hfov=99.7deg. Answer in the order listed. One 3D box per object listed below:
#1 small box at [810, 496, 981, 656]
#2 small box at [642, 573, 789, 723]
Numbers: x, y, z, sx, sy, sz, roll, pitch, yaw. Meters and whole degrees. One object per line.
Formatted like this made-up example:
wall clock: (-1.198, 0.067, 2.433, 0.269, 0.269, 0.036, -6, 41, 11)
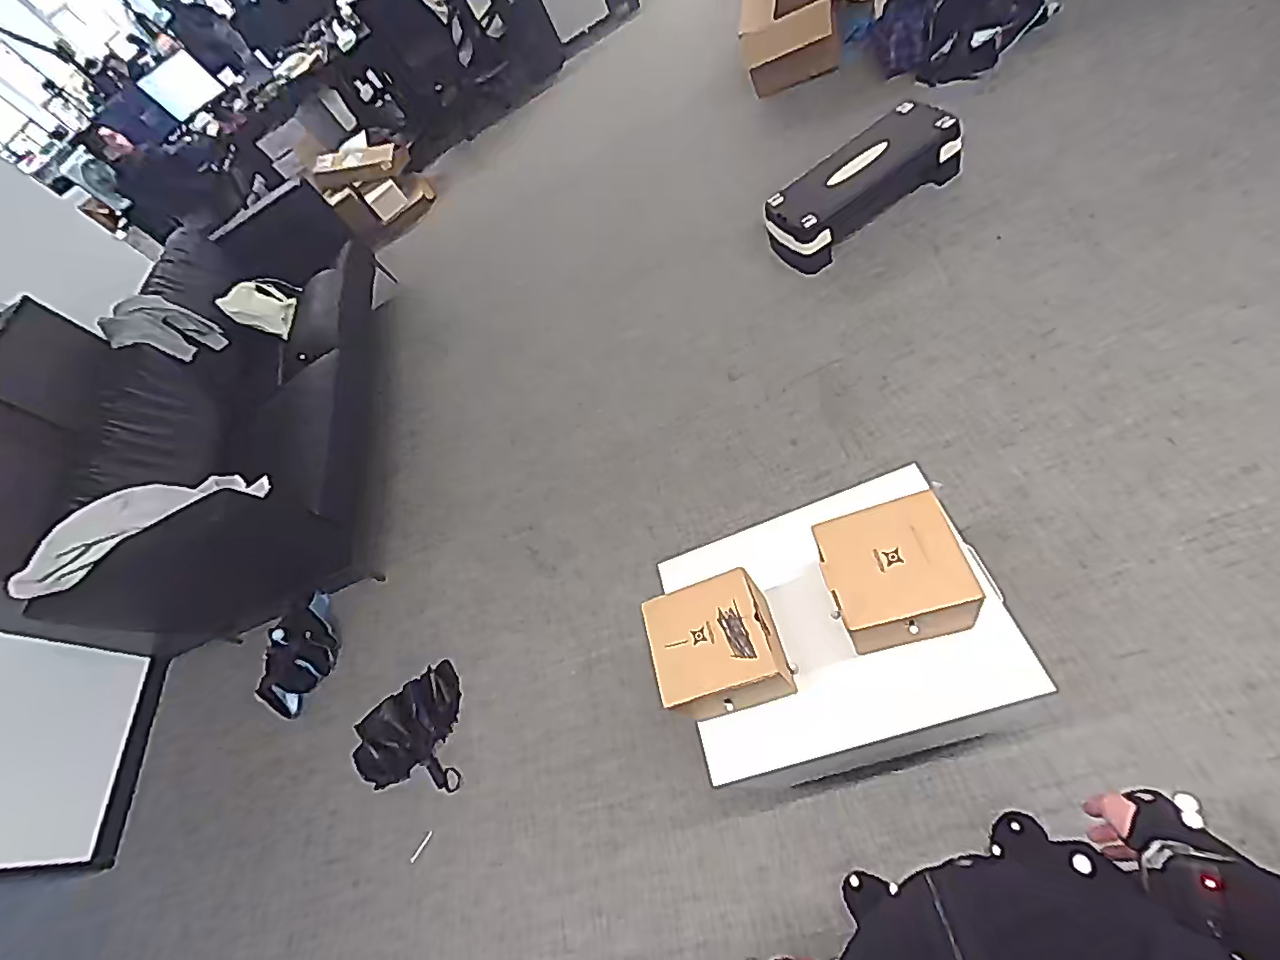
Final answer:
small box: (0.376, 0.152, 0.810, 0.179, 0.176, 0.168, -20, 56, 15)
small box: (0.126, 0.274, 0.862, 0.179, 0.176, 0.168, -23, 54, 14)
